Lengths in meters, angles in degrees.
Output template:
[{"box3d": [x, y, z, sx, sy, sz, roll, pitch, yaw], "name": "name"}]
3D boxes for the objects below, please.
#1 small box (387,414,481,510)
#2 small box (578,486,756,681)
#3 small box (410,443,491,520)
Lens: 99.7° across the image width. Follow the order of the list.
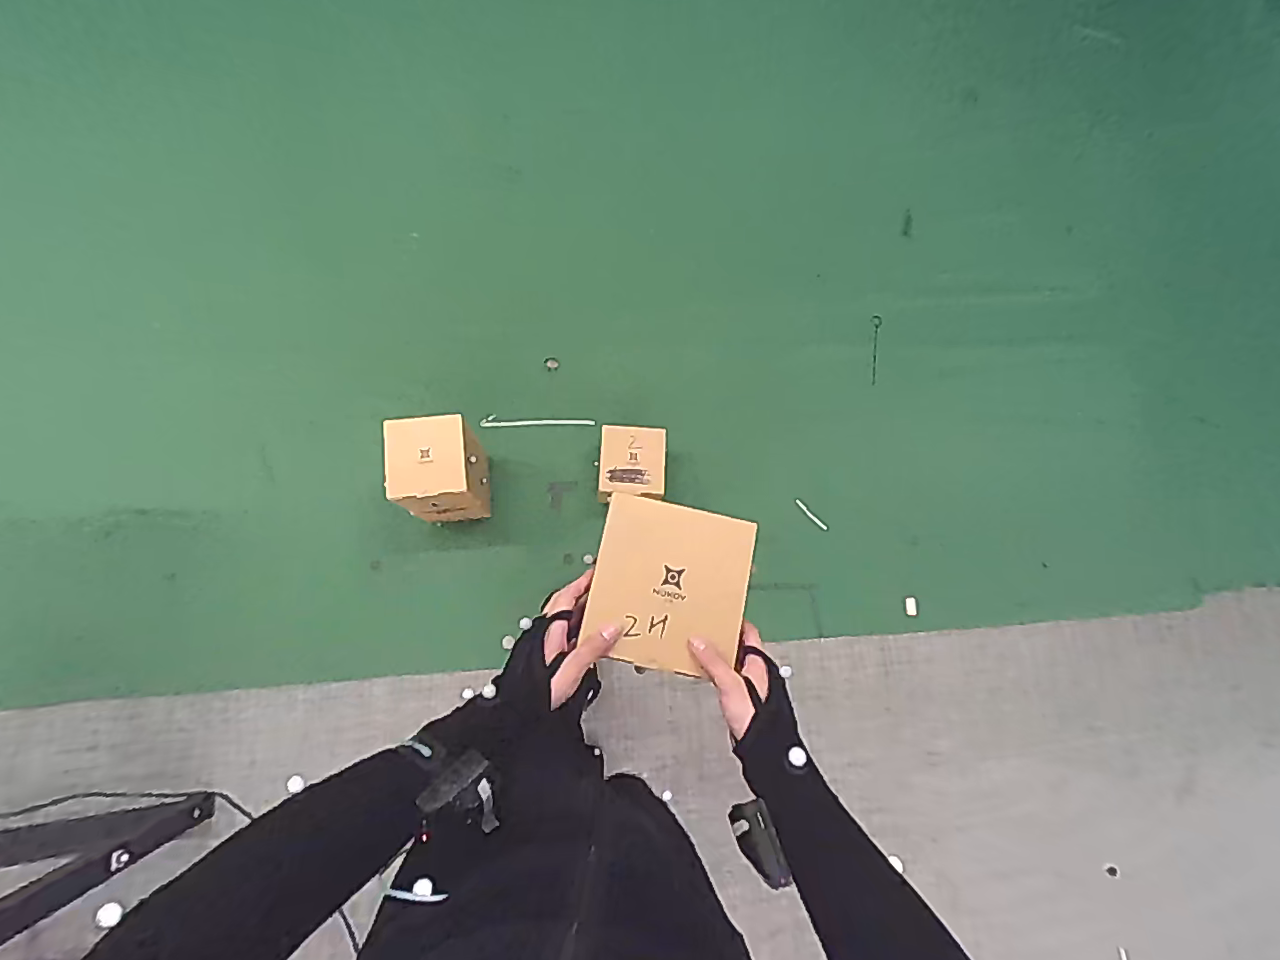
[{"box3d": [-0.463, -0.036, 1.231, 0.168, 0.176, 0.179, -6, 80, -7], "name": "small box"}, {"box3d": [0.024, 0.124, 0.654, 0.168, 0.176, 0.179, 14, 77, -2], "name": "small box"}, {"box3d": [-0.481, 0.005, 1.387, 0.168, 0.176, 0.179, -5, 78, -7], "name": "small box"}]
